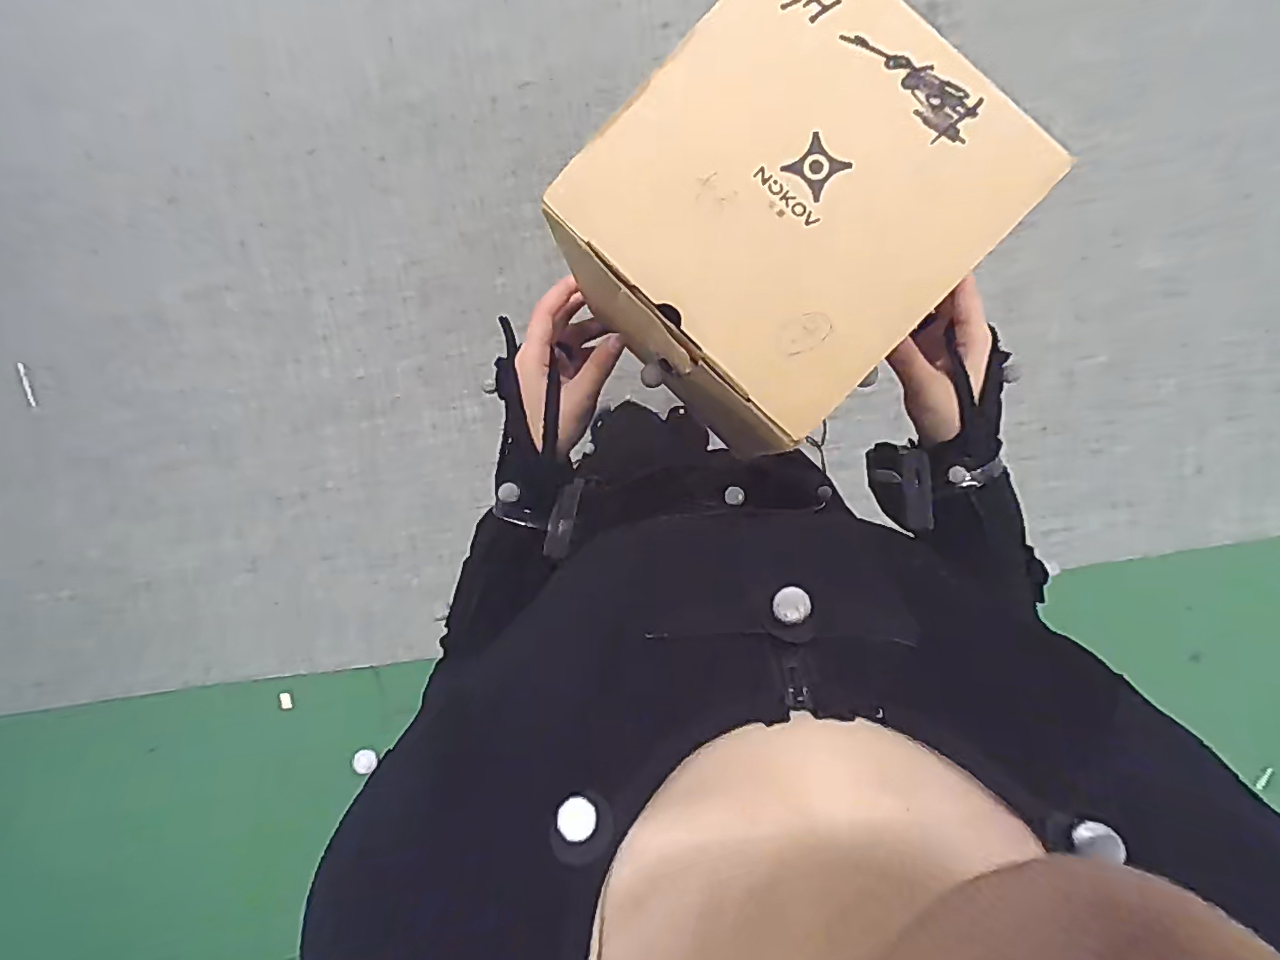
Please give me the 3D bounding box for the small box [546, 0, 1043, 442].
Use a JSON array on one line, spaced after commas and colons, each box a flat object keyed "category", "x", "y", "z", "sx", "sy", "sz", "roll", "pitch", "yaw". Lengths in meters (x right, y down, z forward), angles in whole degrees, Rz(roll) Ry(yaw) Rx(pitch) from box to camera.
[{"category": "small box", "x": 0.075, "y": -0.138, "z": 0.334, "sx": 0.168, "sy": 0.176, "sz": 0.179, "roll": 44, "pitch": 93, "yaw": 2}]
